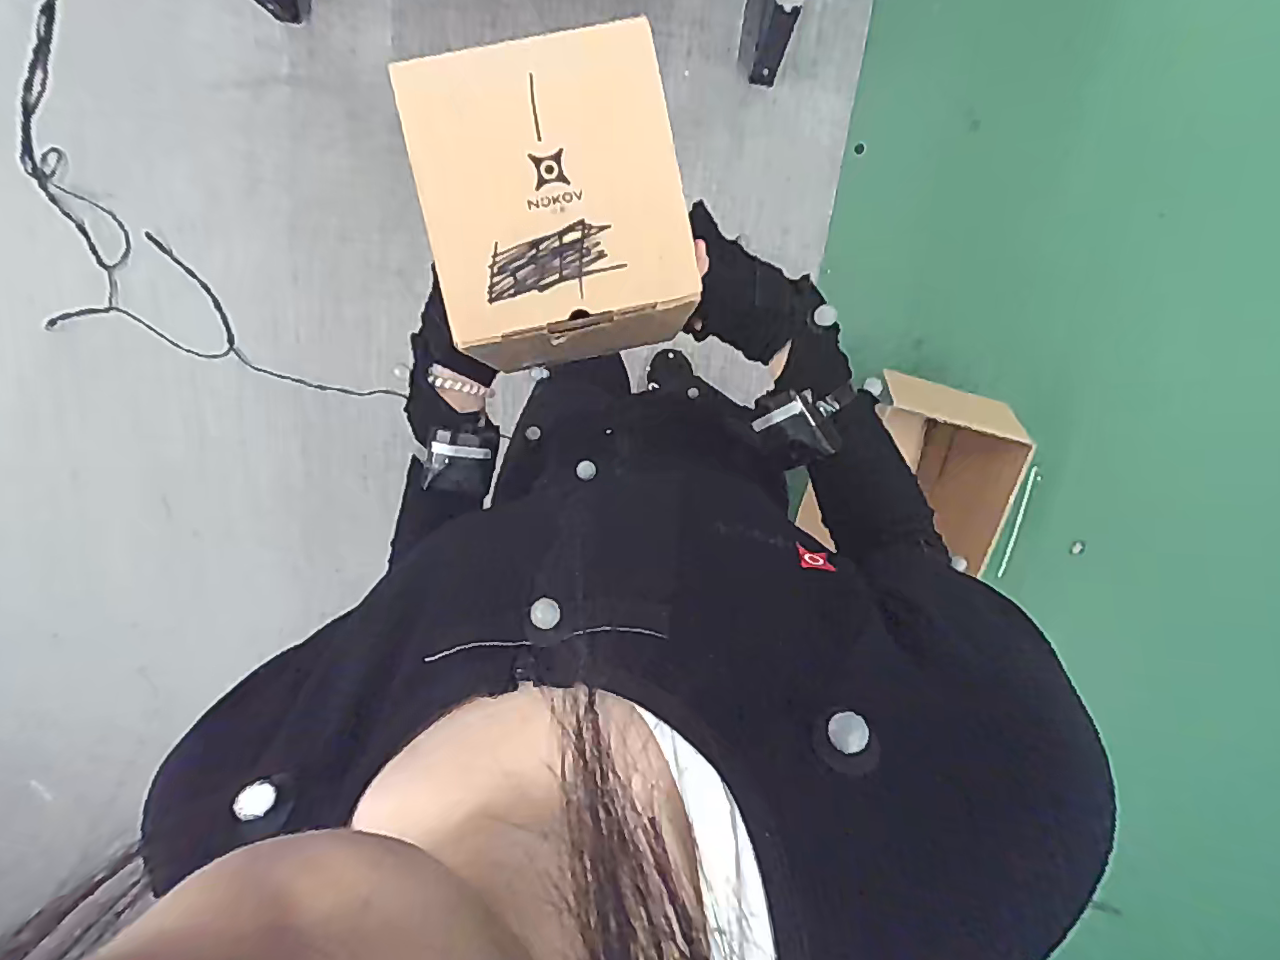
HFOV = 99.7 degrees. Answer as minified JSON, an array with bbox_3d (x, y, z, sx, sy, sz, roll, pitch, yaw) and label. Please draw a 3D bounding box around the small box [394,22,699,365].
[{"bbox_3d":[-0.060,-0.192,0.422,0.168,0.176,0.179,-12,95,-3],"label":"small box"}]
